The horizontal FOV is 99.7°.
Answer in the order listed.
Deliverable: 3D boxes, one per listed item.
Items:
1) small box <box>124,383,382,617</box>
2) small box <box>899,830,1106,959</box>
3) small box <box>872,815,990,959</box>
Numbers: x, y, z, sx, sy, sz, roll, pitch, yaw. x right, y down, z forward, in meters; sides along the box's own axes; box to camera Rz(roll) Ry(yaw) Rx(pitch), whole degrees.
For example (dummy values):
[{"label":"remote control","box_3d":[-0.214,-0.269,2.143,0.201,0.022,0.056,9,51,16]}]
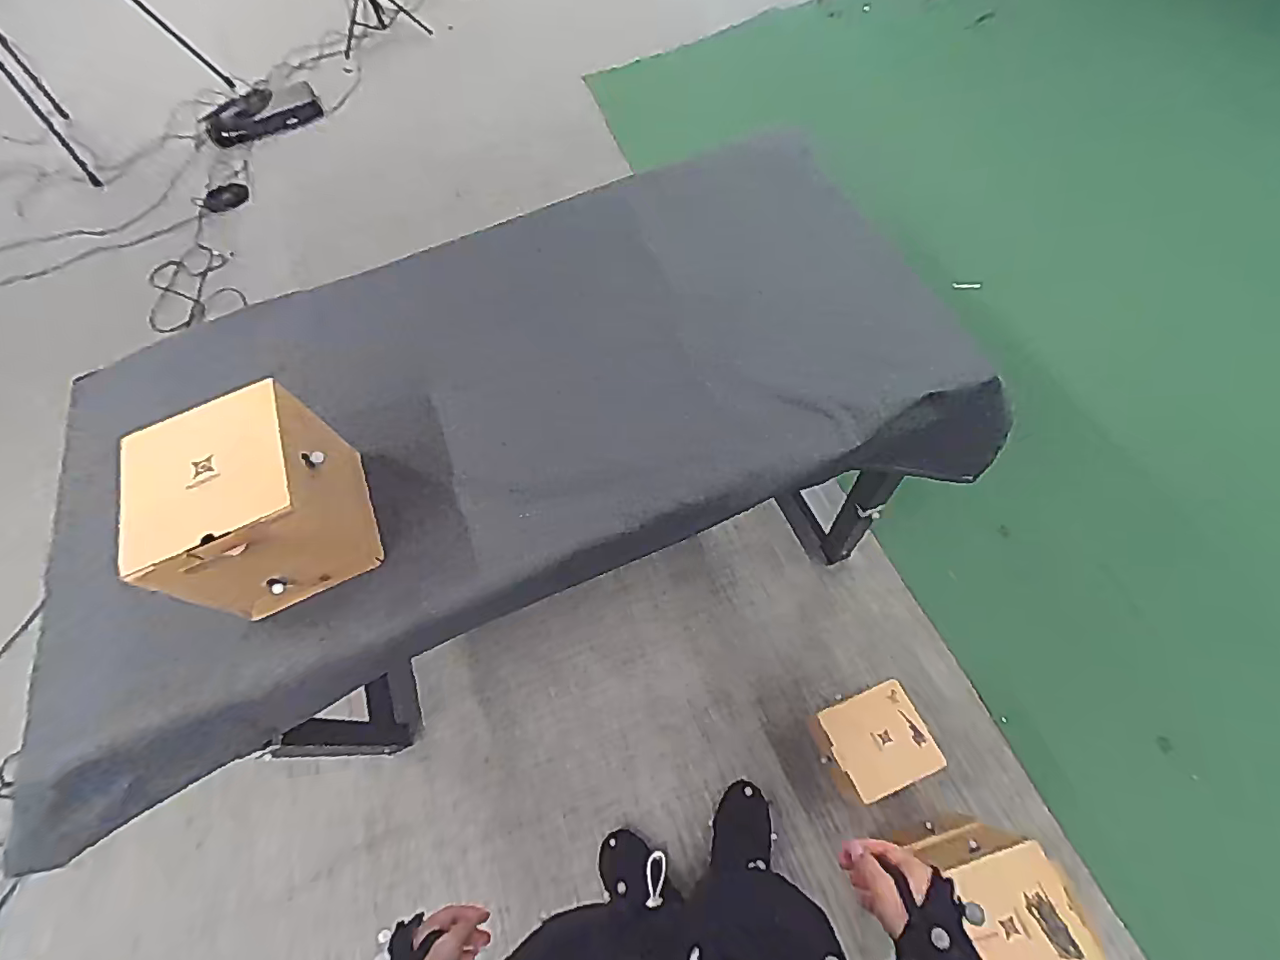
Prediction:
[{"label":"small box","box_3d":[-0.424,0.029,0.614,0.168,0.176,0.179,-25,63,-6]},{"label":"small box","box_3d":[0.528,0.650,0.812,0.179,0.176,0.168,-19,61,-2]},{"label":"small box","box_3d":[0.546,0.718,0.960,0.179,0.176,0.168,-19,62,-1]}]
